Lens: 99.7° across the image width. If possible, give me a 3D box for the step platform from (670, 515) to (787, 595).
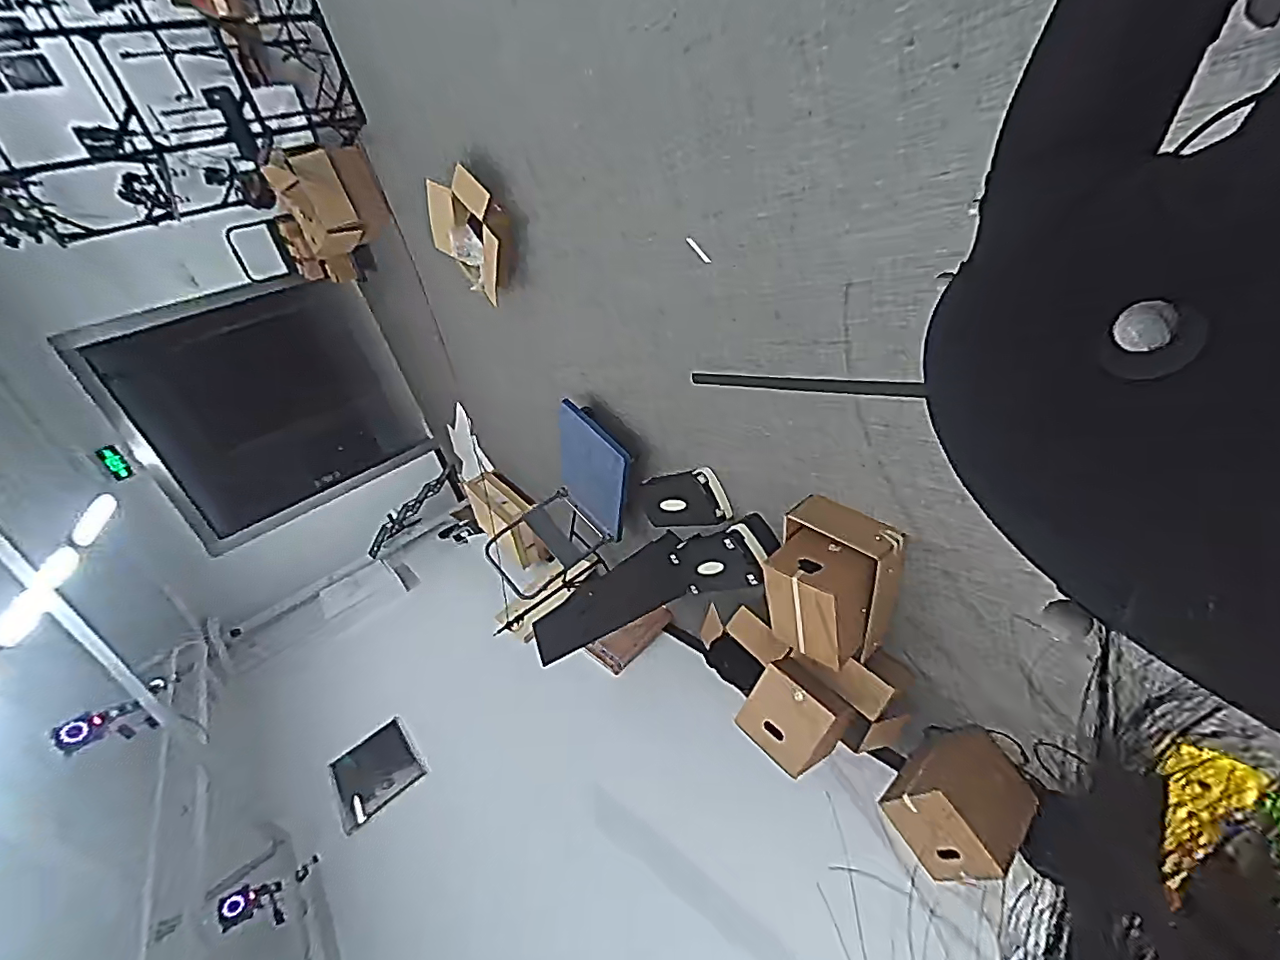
[{"bbox_3d":[0.420,0.399,2.745,0.286,0.204,0.684,57,151,1],"label":"step platform"}]
